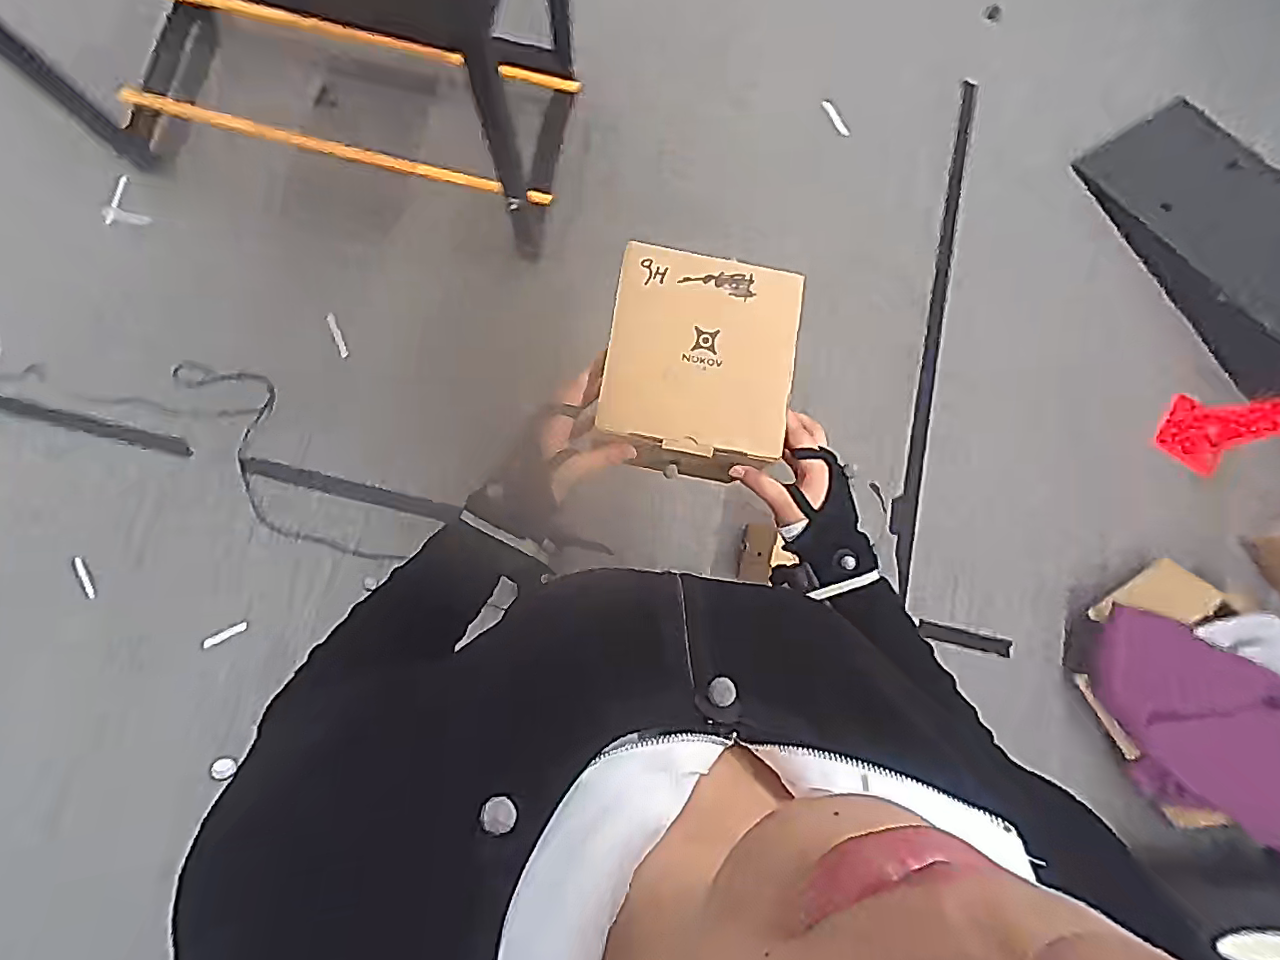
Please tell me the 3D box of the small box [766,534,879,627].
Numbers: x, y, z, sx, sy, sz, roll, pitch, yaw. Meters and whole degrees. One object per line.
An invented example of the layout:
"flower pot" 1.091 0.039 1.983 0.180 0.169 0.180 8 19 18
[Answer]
"small box" 0.401 0.219 1.207 0.179 0.176 0.168 12 81 -2

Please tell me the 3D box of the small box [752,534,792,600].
"small box" 0.400 0.234 1.373 0.179 0.176 0.168 12 82 -1
